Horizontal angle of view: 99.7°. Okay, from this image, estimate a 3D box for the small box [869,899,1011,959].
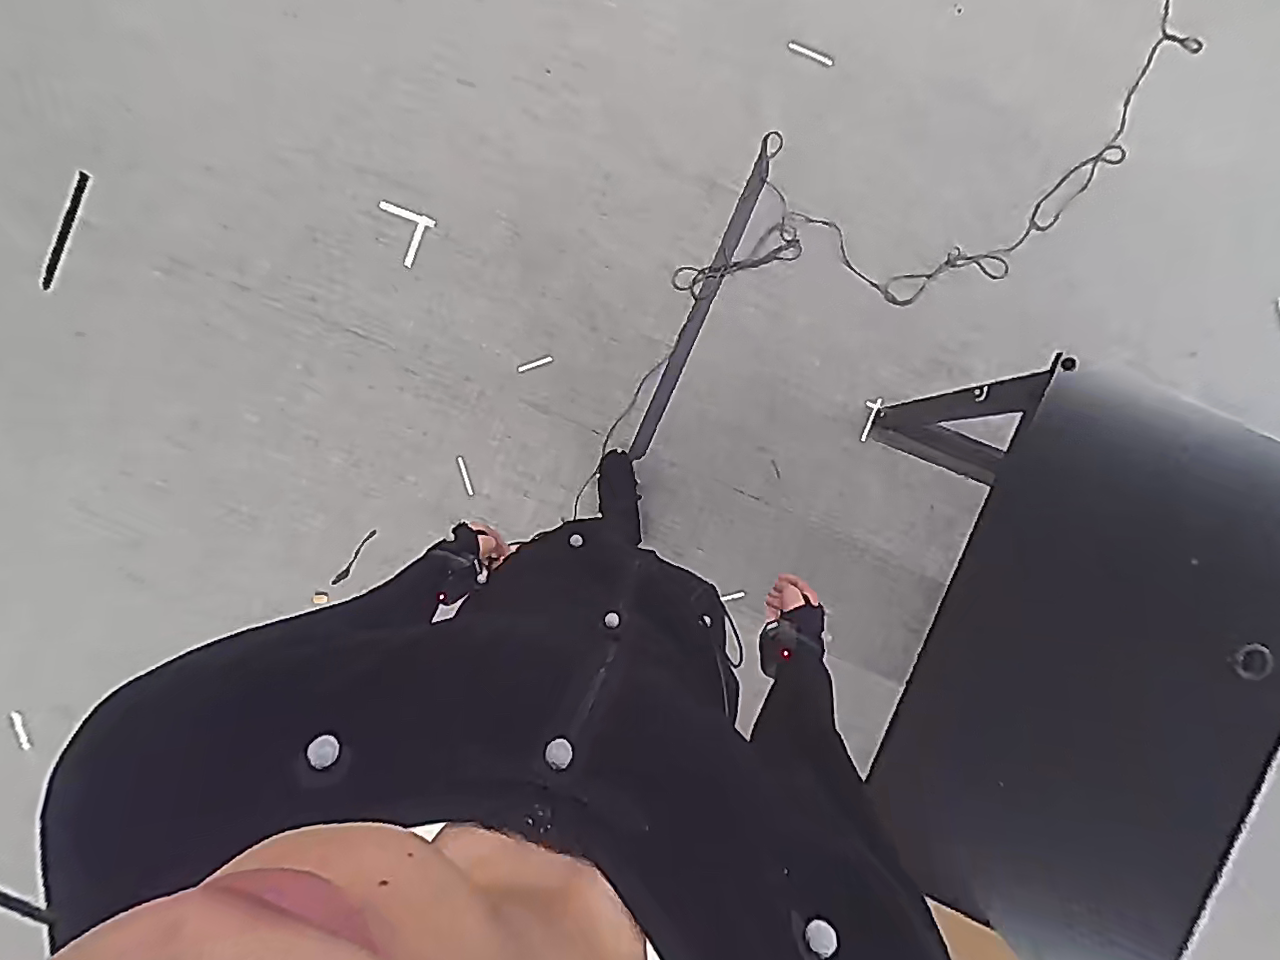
[{"bbox_3d":[0.491,0.805,0.832,0.179,0.176,0.168,28,91,-1],"label":"small box"}]
